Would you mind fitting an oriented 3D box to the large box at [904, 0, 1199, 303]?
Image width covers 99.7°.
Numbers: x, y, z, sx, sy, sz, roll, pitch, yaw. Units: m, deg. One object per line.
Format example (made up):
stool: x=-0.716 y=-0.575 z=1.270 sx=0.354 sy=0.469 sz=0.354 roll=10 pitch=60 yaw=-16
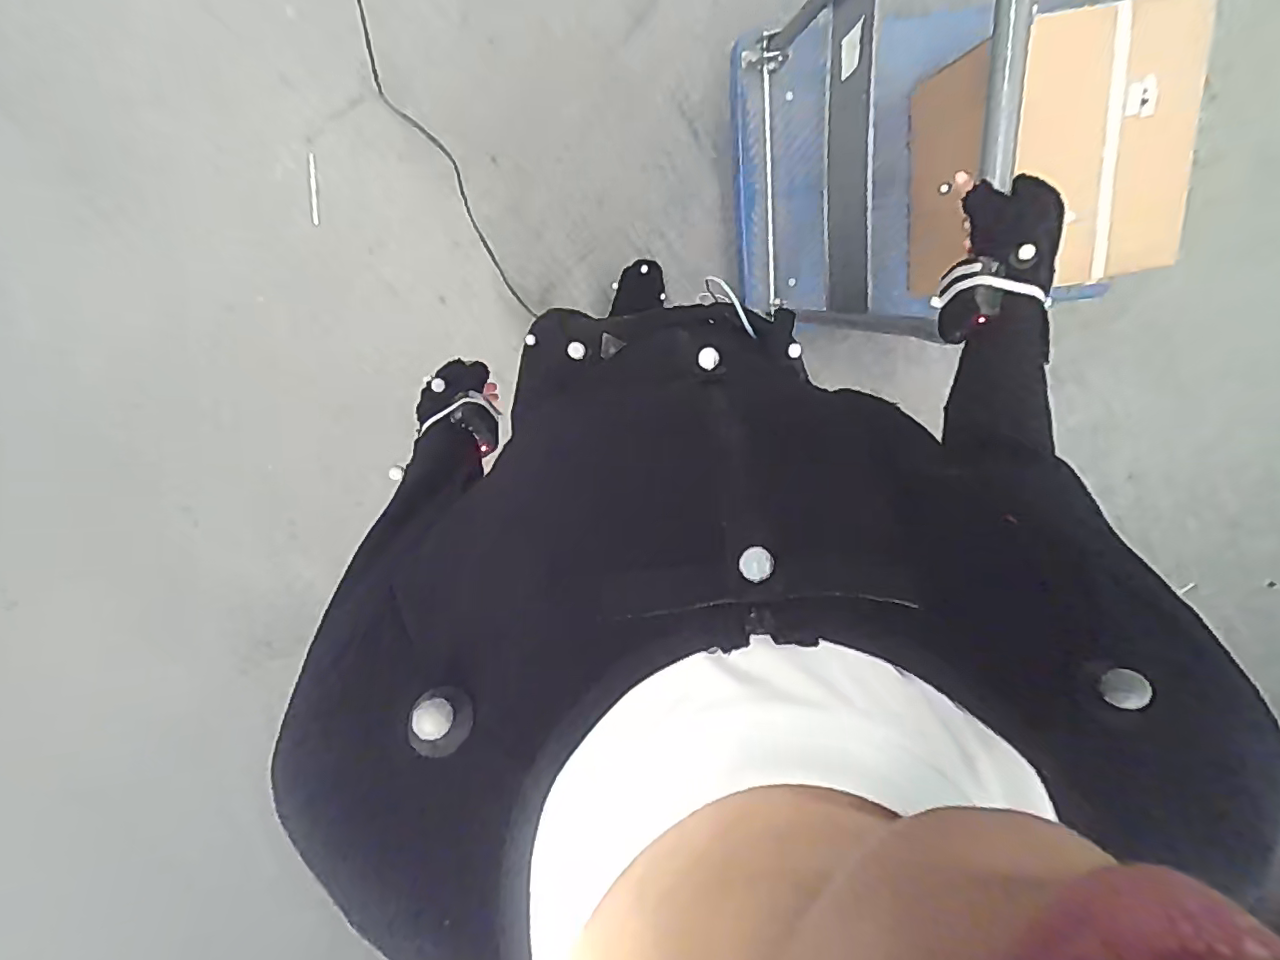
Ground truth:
large box: x=0.732 y=-0.571 z=1.025 sx=0.320 sy=0.320 sz=0.408 roll=-11 pitch=108 yaw=-2
